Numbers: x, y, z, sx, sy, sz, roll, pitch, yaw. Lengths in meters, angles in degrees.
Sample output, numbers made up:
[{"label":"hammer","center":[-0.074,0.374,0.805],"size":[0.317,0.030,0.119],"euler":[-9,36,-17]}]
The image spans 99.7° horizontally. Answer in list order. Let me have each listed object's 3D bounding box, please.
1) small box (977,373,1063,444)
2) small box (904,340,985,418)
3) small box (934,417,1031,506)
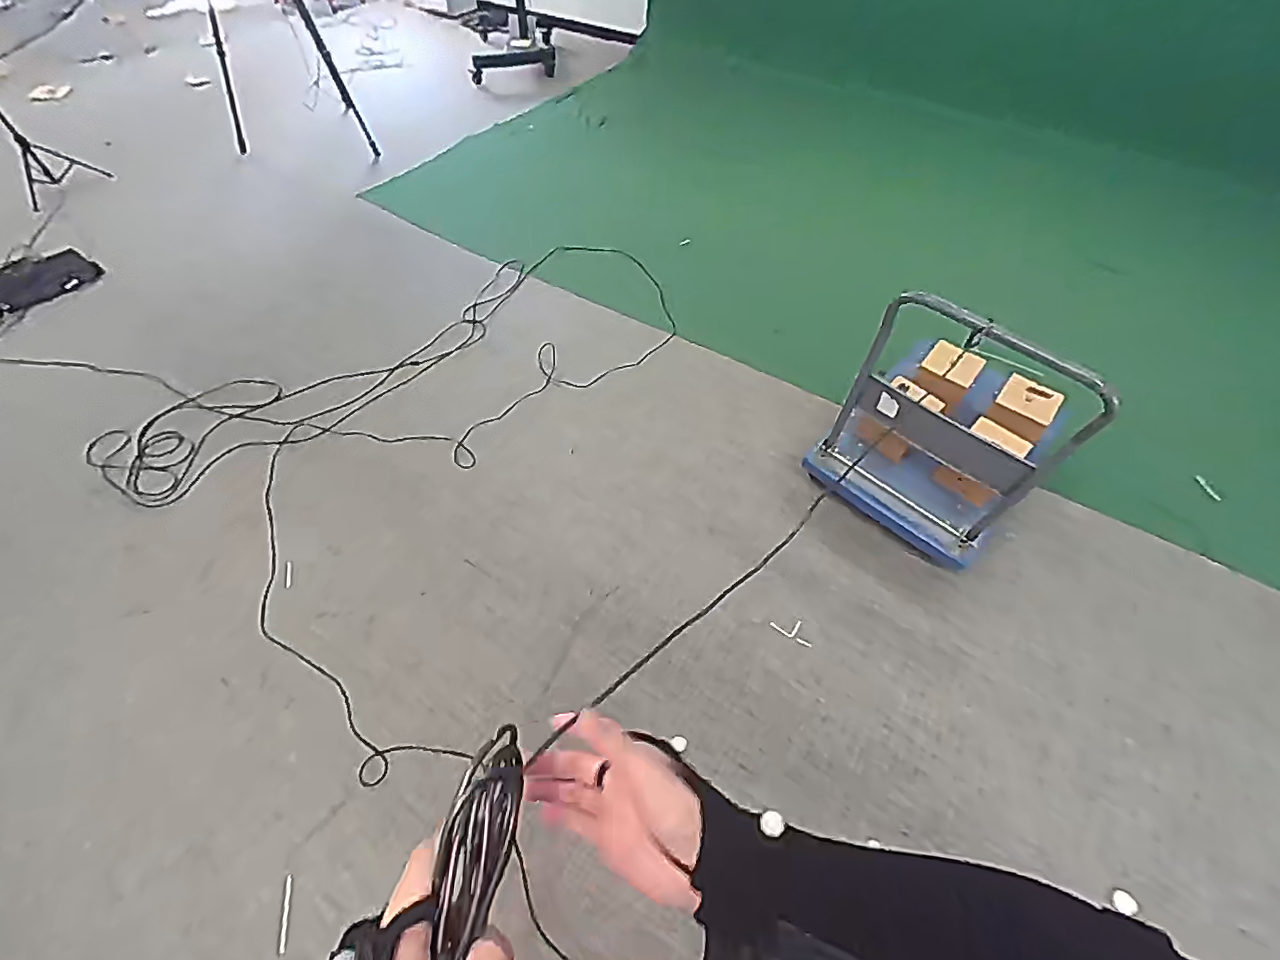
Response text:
[{"label":"small box","center":[1.245,-0.214,1.794],"size":[0.168,0.176,0.179],"euler":[35,62,23]},{"label":"small box","center":[1.052,-0.348,1.886],"size":[0.168,0.176,0.179],"euler":[36,61,21]},{"label":"small box","center":[1.056,-0.056,1.680],"size":[0.168,0.176,0.179],"euler":[39,63,24]}]
